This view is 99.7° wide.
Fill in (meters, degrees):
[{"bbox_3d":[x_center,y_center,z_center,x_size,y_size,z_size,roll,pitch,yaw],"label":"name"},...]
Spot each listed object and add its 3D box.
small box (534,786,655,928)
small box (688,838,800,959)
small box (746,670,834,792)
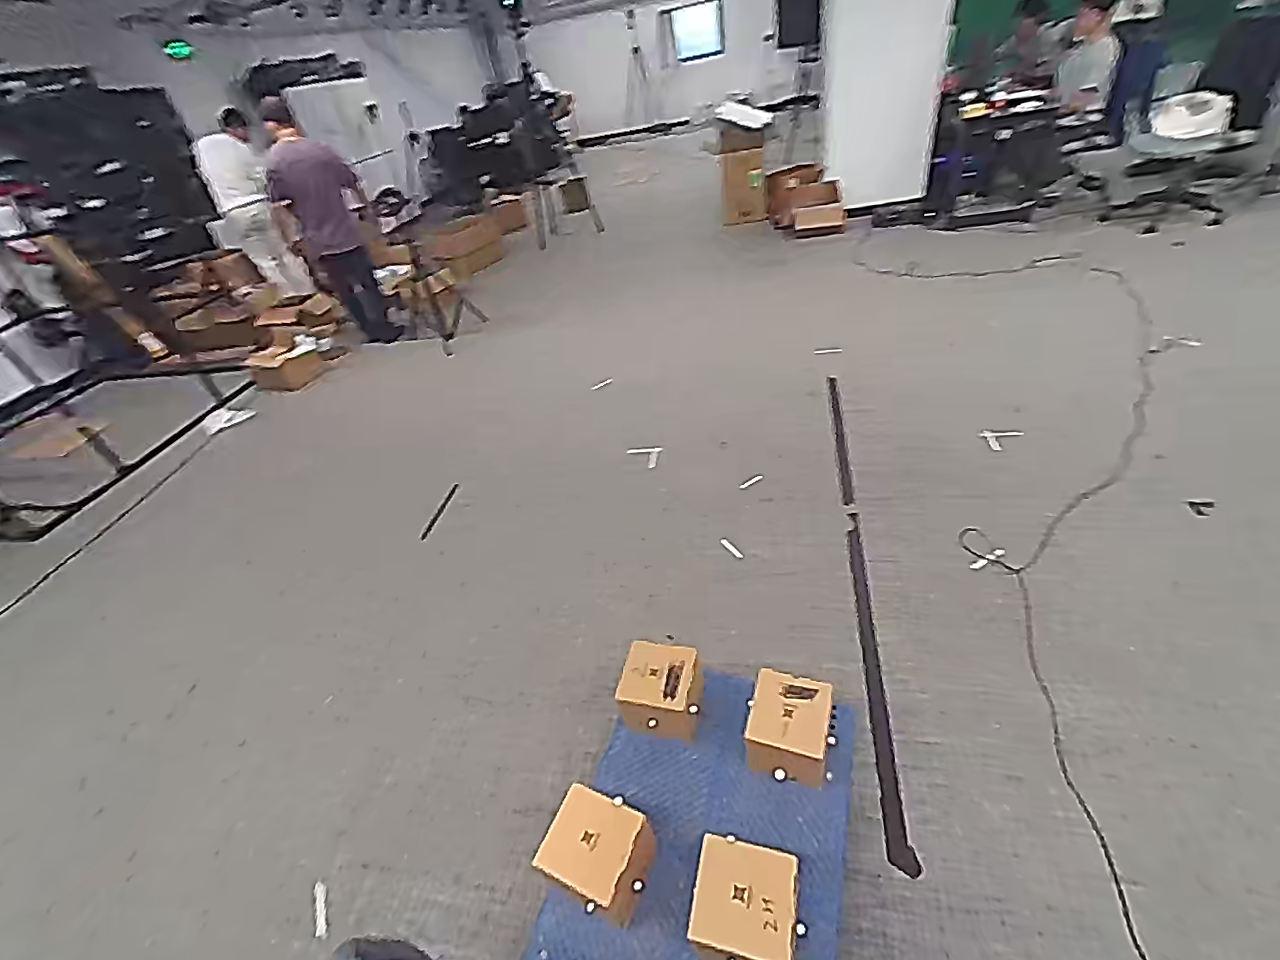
[{"bbox_3d":[-0.085,0.782,1.120,0.179,0.176,0.168,10,43,25],"label":"small box"},{"bbox_3d":[0.201,0.805,1.004,0.179,0.176,0.168,2,41,19],"label":"small box"},{"bbox_3d":[0.346,0.576,1.243,0.168,0.176,0.179,6,43,23],"label":"small box"}]
